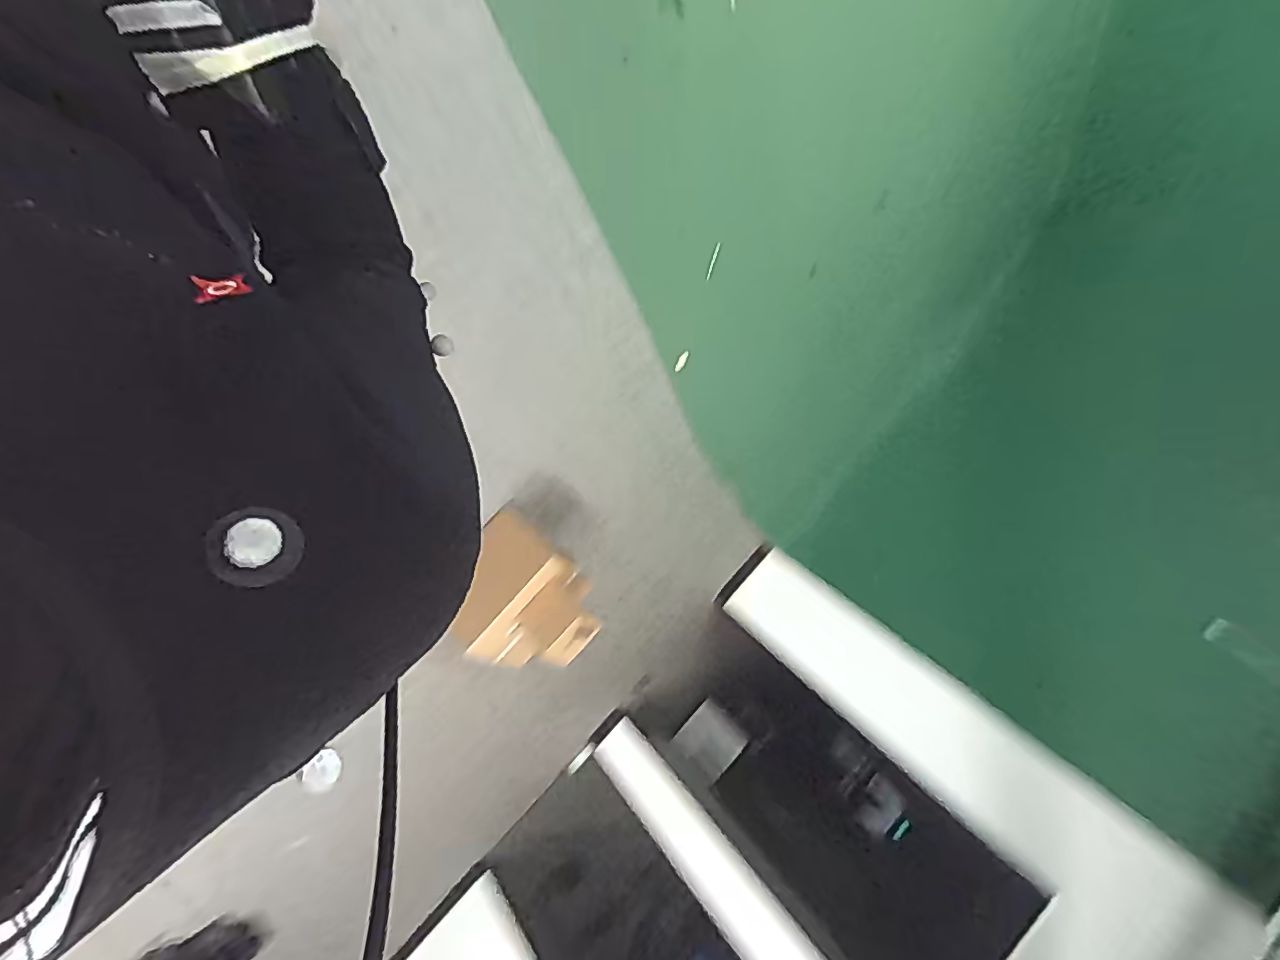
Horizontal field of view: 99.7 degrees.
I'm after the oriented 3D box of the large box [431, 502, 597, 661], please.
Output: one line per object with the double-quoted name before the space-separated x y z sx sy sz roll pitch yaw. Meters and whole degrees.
"large box" -0.435 0.355 1.893 0.408 0.320 0.320 -47 144 -3
